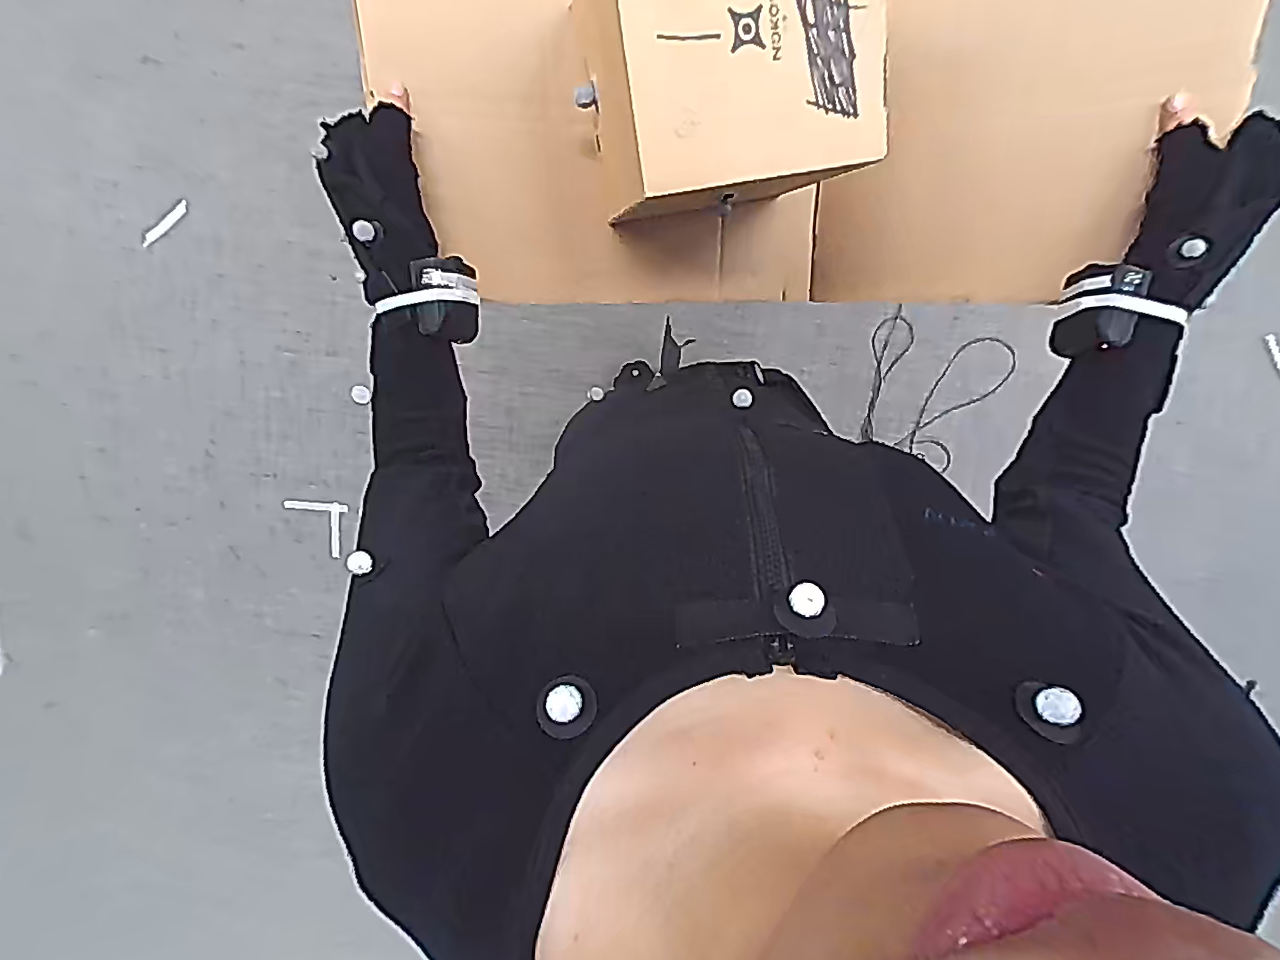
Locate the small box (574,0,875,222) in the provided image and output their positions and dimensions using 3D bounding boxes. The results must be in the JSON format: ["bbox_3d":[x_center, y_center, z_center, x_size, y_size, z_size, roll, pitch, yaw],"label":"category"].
[{"bbox_3d":[0.055,-0.307,0.418,0.179,0.176,0.168,-13,112,-7],"label":"small box"}]
